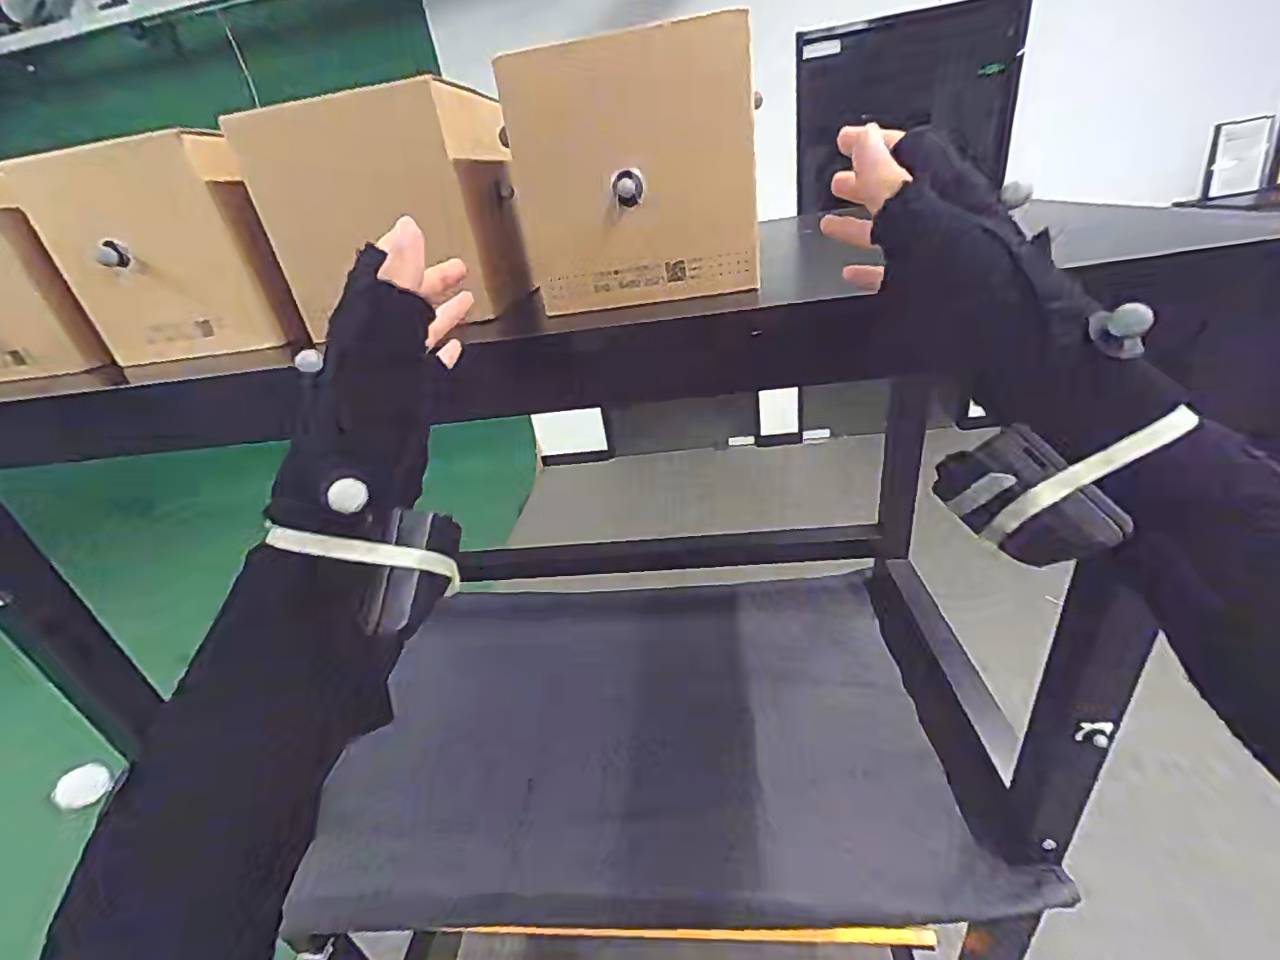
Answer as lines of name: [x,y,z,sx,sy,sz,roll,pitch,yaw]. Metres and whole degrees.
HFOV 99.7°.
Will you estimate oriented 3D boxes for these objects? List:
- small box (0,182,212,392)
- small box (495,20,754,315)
small box: [-0.594,-0.198,0.554,0.168,0.176,0.179,-5,29,7]
small box: [0.002,-0.241,0.451,0.168,0.176,0.179,-5,28,7]
